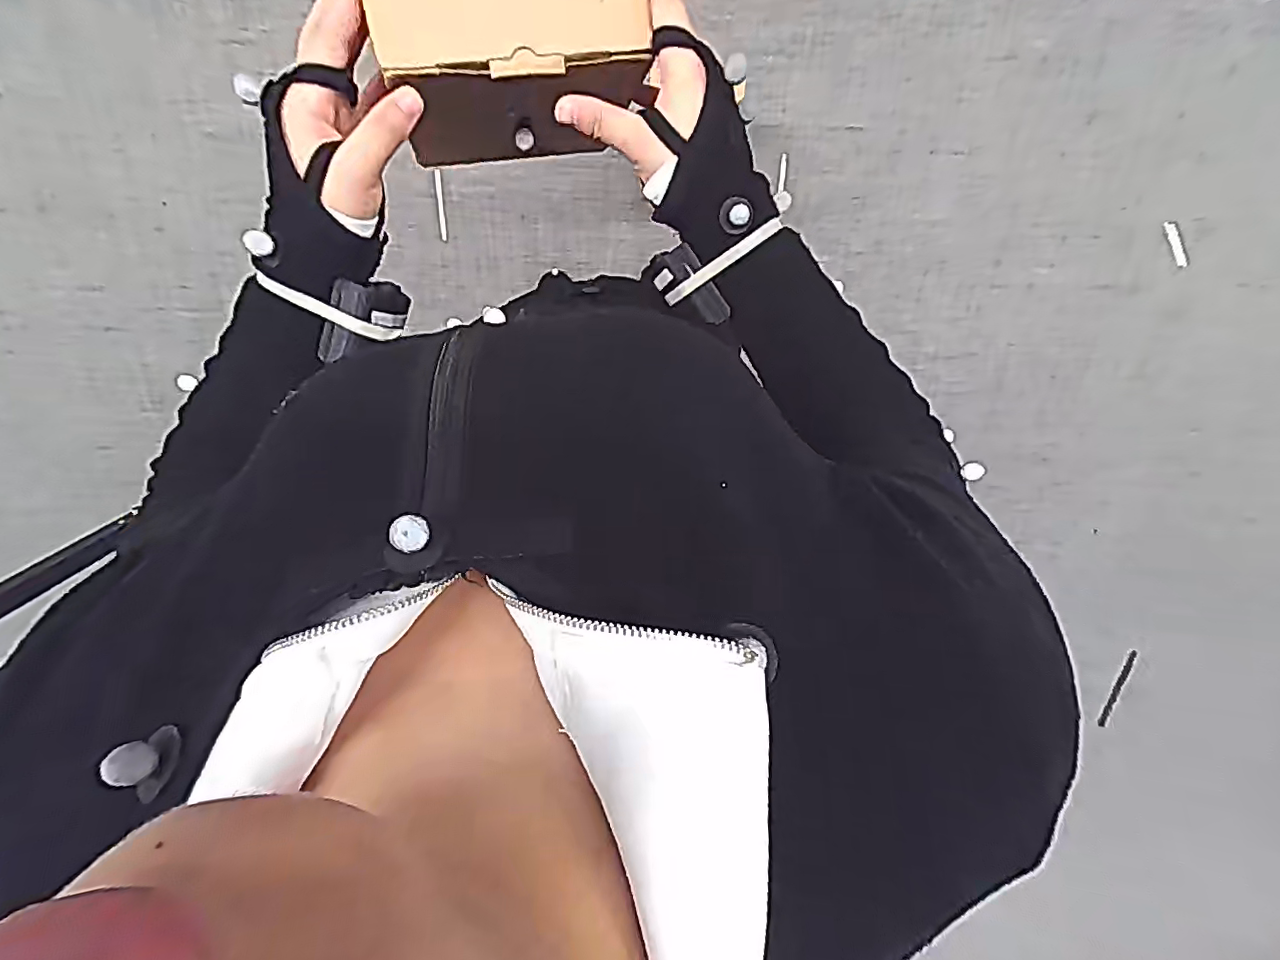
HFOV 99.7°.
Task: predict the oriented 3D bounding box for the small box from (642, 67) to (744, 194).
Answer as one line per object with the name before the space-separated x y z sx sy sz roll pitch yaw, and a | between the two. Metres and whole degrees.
small box | 0.090 -0.651 1.026 0.168 0.176 0.179 1 115 -2

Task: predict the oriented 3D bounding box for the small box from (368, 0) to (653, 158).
small box | -0.098 -0.345 0.380 0.168 0.176 0.179 -12 107 -12

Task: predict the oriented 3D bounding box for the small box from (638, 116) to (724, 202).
small box | 0.088 -0.707 1.179 0.179 0.176 0.168 0 114 -2
